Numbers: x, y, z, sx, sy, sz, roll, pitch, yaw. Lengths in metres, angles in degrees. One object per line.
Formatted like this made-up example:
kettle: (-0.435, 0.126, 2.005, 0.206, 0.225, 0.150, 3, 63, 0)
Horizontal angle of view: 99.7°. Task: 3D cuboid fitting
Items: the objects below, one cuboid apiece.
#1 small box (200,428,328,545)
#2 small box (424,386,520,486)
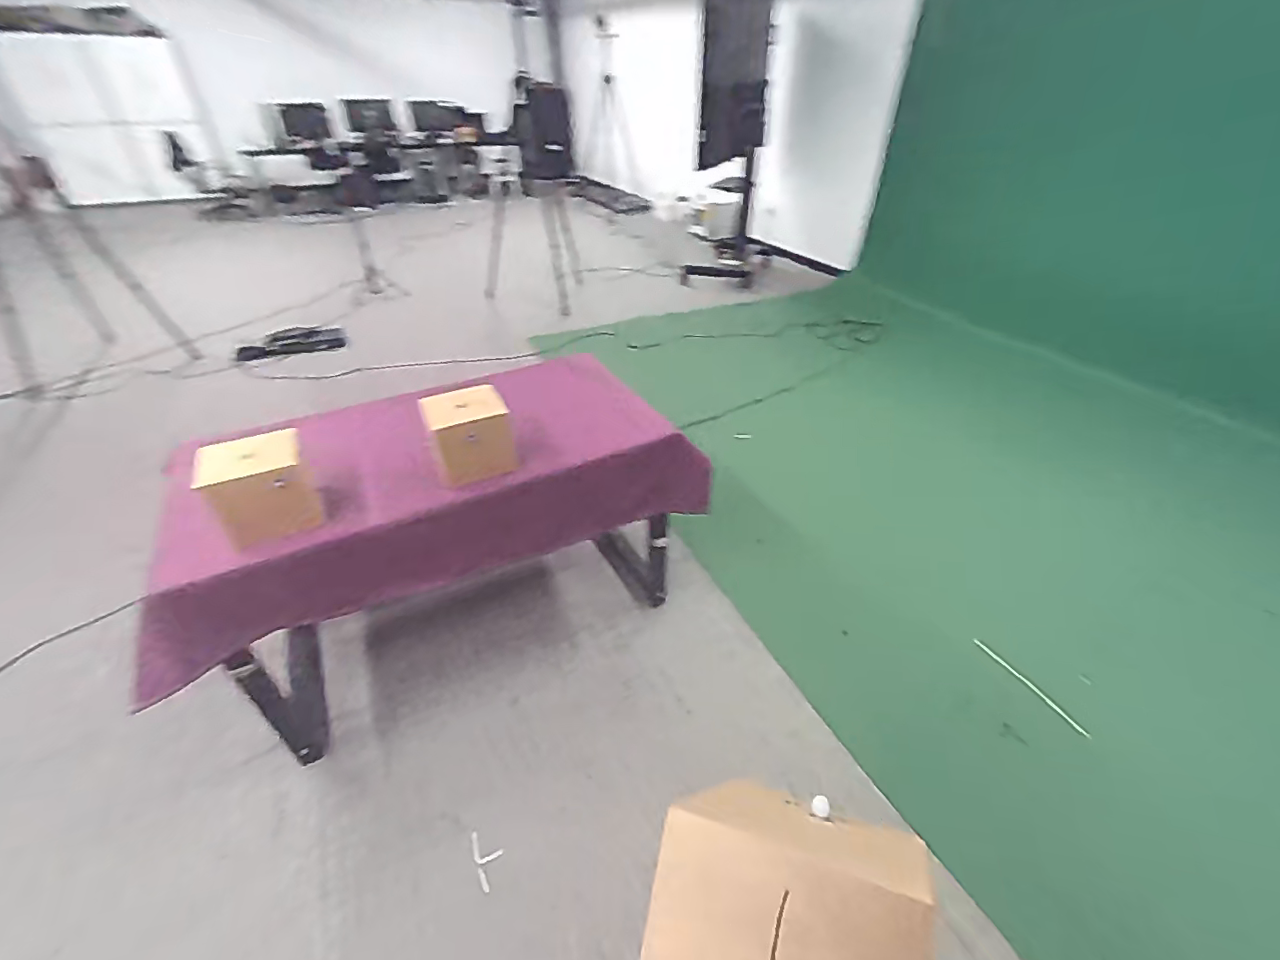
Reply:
small box: (-0.798, 0.015, 1.163, 0.179, 0.176, 0.168, -17, 40, -23)
small box: (-0.409, -0.108, 1.328, 0.179, 0.176, 0.168, -17, 41, -21)
